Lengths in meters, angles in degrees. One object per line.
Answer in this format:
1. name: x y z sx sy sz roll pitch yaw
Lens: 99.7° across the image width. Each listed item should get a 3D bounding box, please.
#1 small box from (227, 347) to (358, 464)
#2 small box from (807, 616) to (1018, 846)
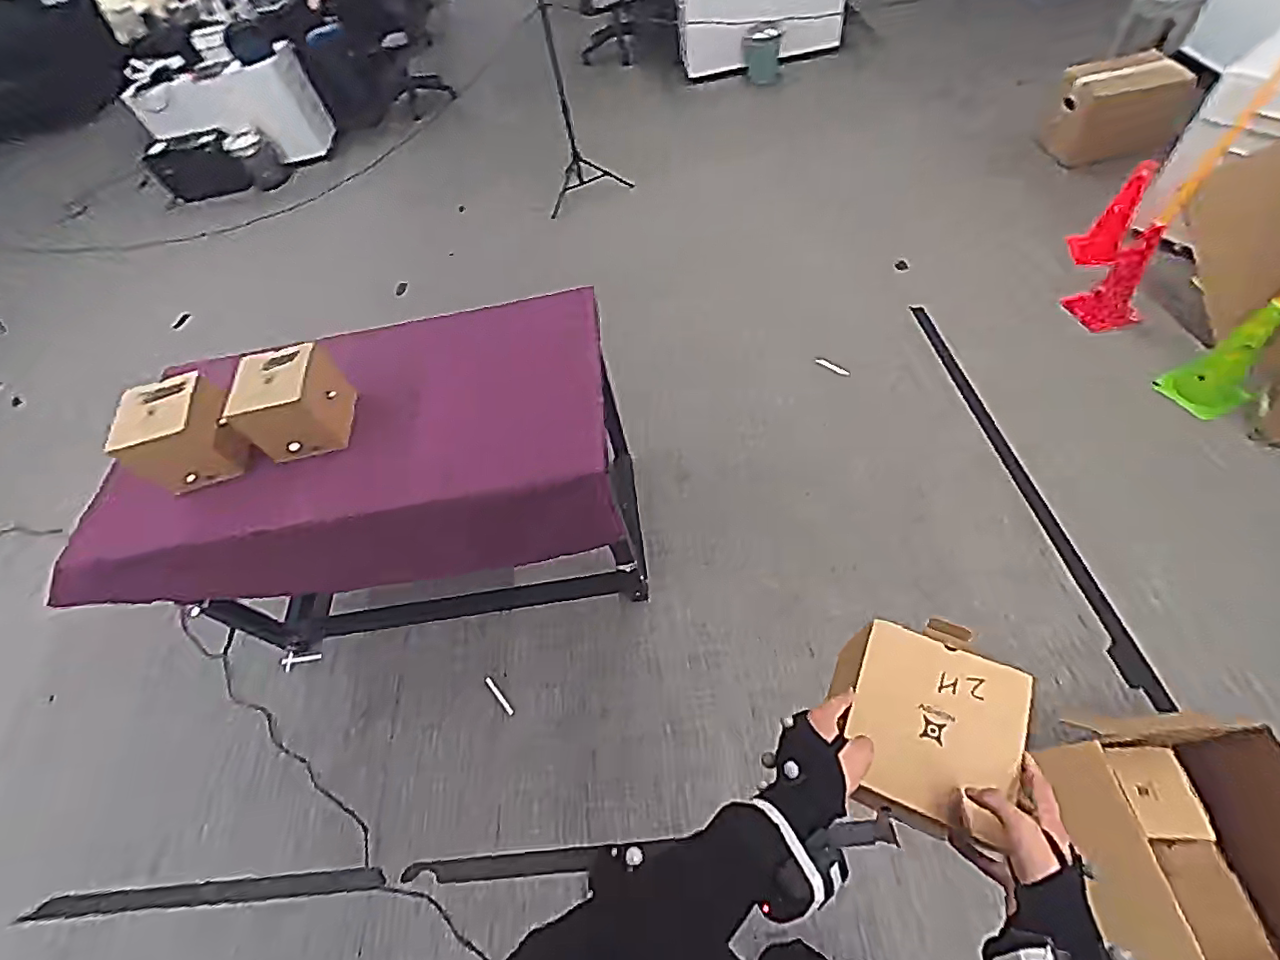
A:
1. small box: -0.762 -0.164 1.210 0.168 0.176 0.179 -12 56 2
2. small box: 0.305 0.292 0.635 0.168 0.176 0.179 19 63 16
